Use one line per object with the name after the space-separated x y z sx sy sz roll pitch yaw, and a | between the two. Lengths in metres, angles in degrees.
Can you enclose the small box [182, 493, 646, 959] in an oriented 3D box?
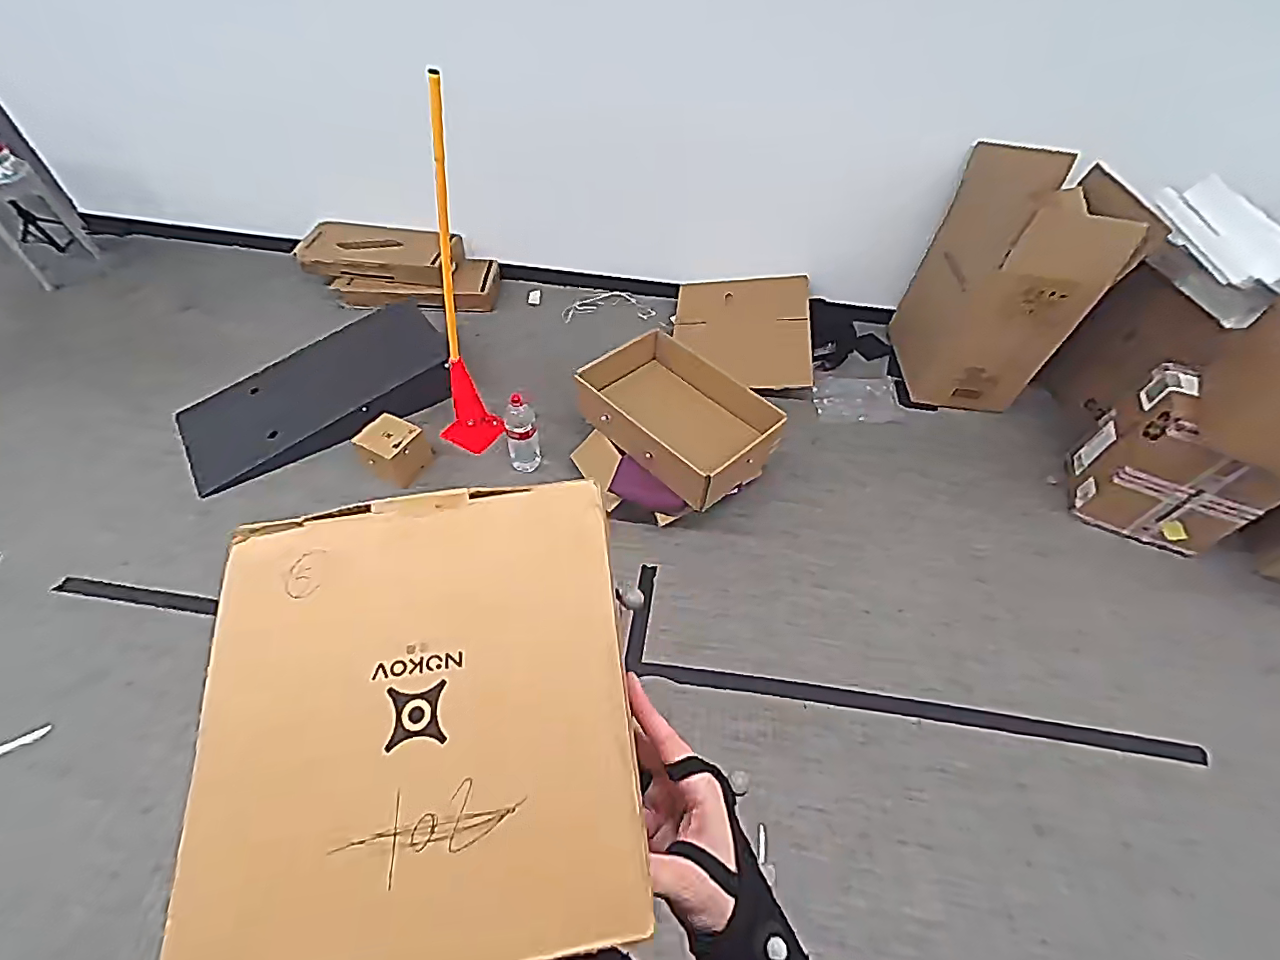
-0.091 0.126 0.300 0.168 0.176 0.179 -7 67 -4 | small box
